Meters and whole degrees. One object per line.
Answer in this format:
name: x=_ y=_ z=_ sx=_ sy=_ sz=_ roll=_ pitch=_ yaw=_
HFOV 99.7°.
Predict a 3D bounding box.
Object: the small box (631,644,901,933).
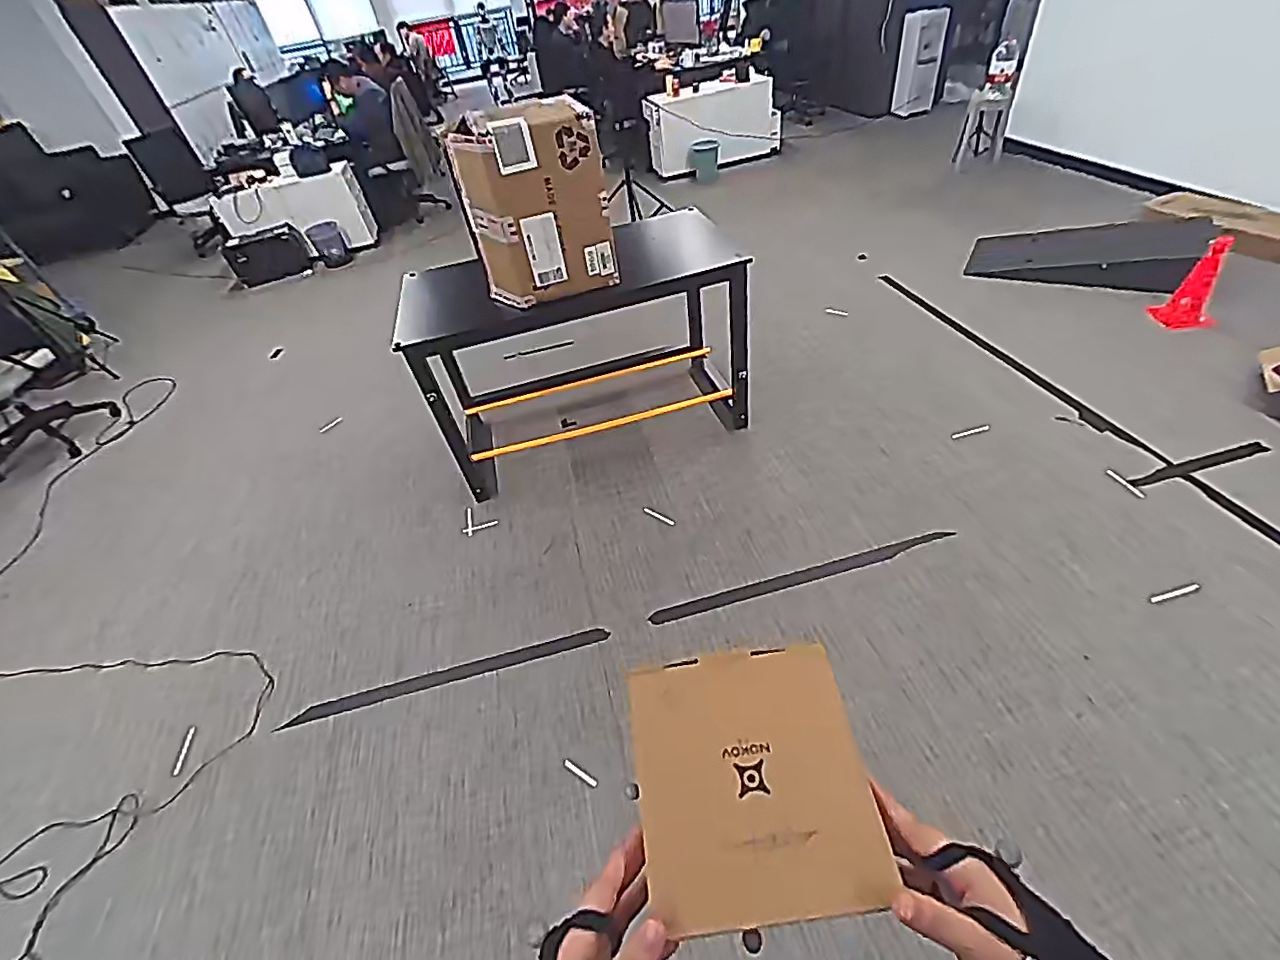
small box: x=0.085 y=0.263 z=0.459 sx=0.168 sy=0.176 sz=0.179 roll=-8 pitch=52 yaw=0
